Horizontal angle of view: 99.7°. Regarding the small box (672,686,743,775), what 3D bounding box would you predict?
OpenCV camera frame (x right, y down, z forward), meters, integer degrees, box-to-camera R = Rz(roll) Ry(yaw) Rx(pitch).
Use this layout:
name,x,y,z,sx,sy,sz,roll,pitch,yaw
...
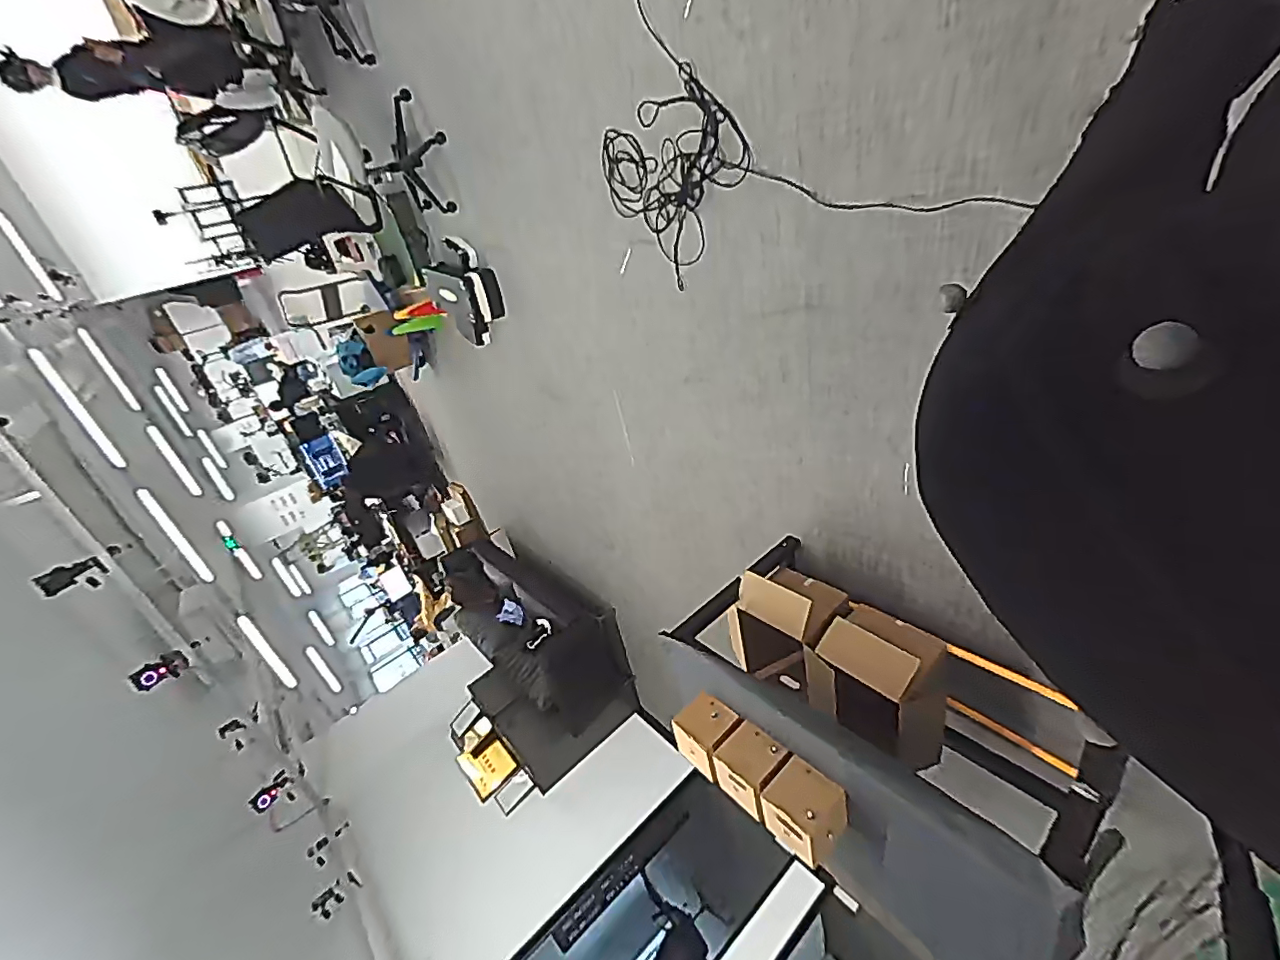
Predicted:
name,x,y,z,sx,sy,sz,roll,pitch,yaw
small box,0.236,0.848,1.842,0.168,0.176,0.179,23,135,46
